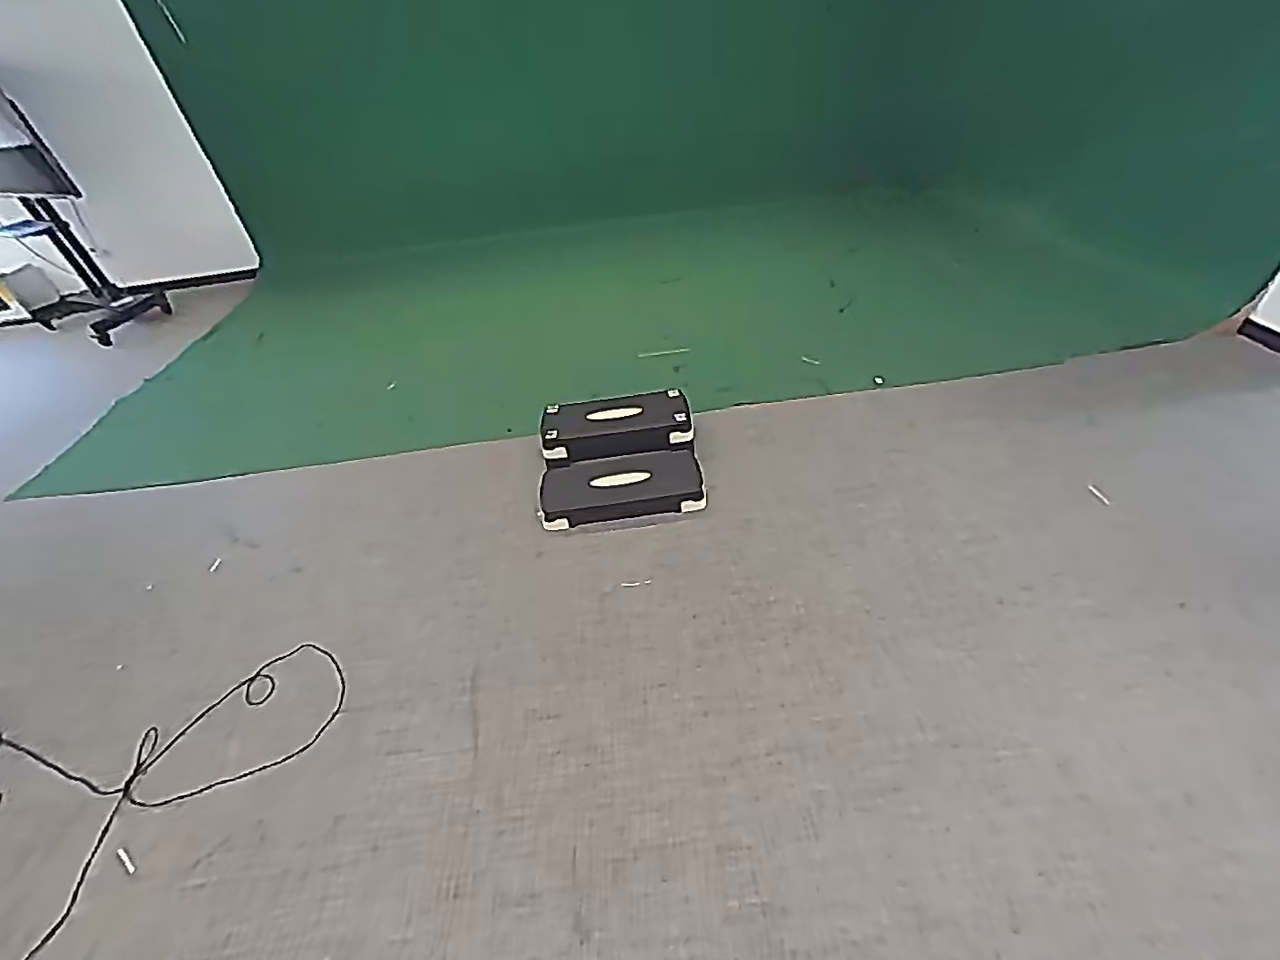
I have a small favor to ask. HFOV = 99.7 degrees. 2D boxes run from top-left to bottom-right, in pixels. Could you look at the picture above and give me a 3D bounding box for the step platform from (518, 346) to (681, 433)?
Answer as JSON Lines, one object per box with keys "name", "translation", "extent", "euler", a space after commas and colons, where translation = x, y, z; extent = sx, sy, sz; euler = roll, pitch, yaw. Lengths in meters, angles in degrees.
{"name": "step platform", "translation": [-0.167, -0.395, 2.341], "extent": [0.684, 0.204, 0.286], "euler": [-8, 41, 0]}
